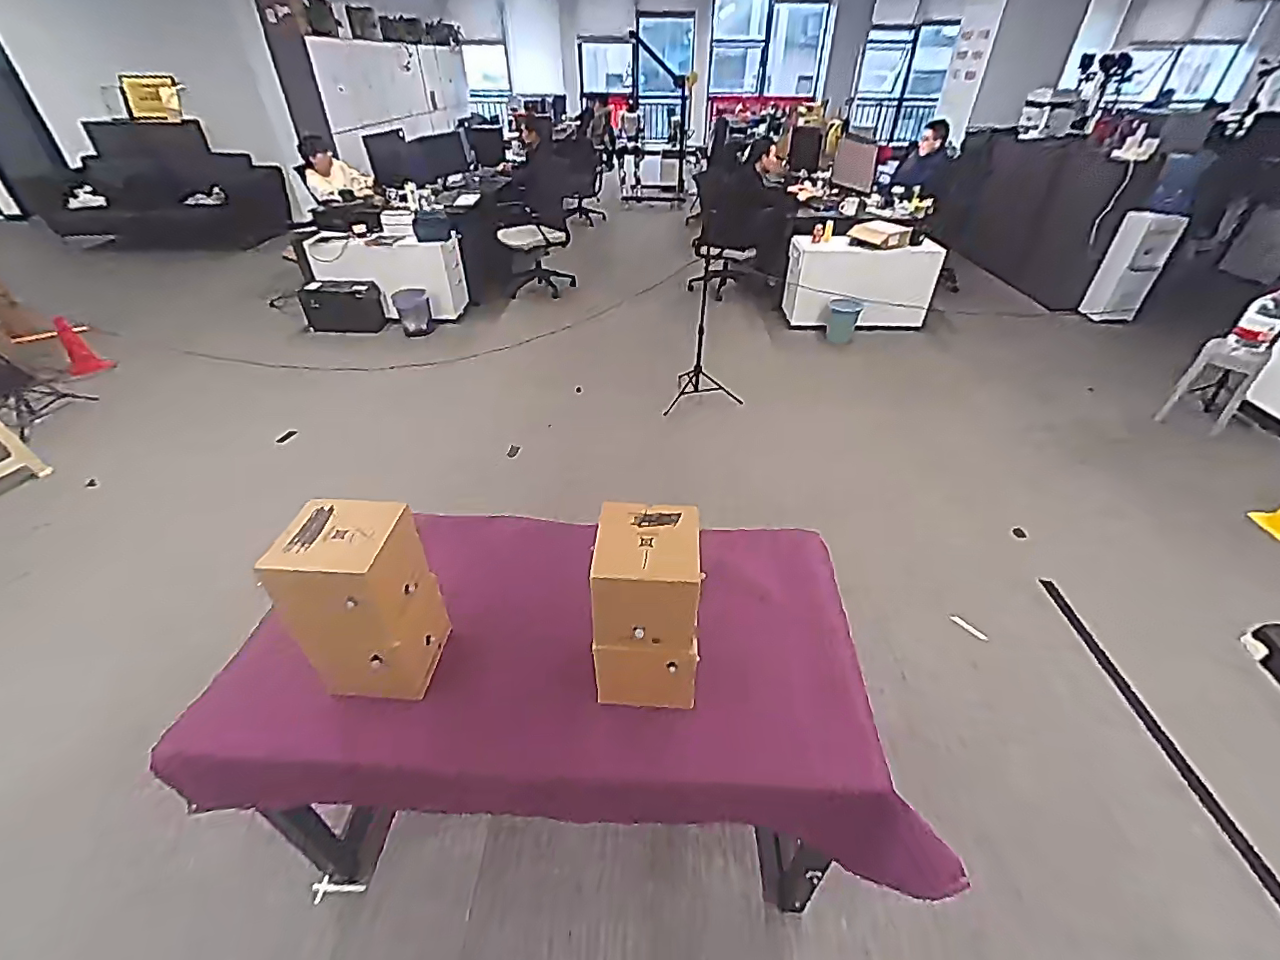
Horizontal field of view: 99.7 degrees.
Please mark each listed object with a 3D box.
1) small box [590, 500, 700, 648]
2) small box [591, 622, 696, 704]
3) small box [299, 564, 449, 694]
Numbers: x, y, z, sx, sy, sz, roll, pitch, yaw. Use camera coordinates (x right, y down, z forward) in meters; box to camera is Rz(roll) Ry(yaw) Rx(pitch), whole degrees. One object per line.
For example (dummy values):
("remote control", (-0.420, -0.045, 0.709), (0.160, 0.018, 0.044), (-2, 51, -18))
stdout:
("small box", (0.011, 0.155, 0.906), (0.168, 0.176, 0.179), (3, 38, 3))
("small box", (0.011, 0.293, 0.997), (0.179, 0.176, 0.168), (3, 37, 2))
("small box", (-0.477, 0.278, 1.006), (0.179, 0.176, 0.168), (3, 38, 3))
